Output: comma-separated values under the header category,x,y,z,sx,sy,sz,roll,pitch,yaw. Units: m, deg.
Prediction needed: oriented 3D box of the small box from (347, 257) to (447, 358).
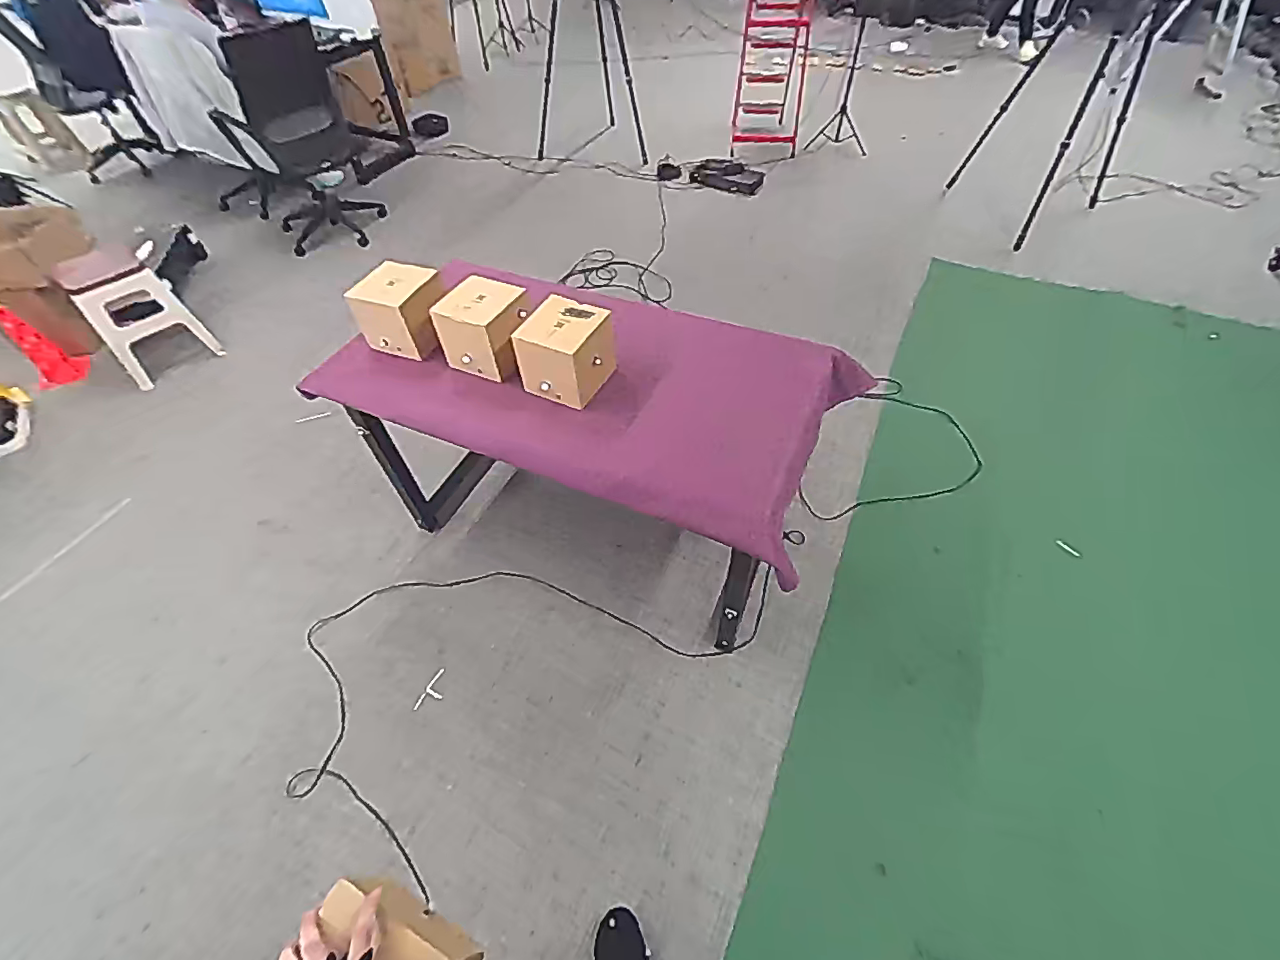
category,x,y,z,sx,sy,sz,roll,pitch,yaw
small box,-0.615,-0.451,1.416,0.168,0.176,0.179,15,54,15

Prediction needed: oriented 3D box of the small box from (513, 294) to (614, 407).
category,x,y,z,sx,sy,sz,roll,pitch,yaw
small box,-0.172,-0.307,1.284,0.168,0.176,0.179,21,56,18

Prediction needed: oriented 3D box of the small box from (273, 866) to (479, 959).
category,x,y,z,sx,sy,sz,roll,pitch,yaw
small box,-0.327,0.607,0.653,0.179,0.176,0.168,22,57,17

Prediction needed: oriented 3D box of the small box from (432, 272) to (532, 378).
category,x,y,z,sx,sy,sz,roll,pitch,yaw
small box,-0.381,-0.387,1.355,0.168,0.176,0.179,20,55,17
